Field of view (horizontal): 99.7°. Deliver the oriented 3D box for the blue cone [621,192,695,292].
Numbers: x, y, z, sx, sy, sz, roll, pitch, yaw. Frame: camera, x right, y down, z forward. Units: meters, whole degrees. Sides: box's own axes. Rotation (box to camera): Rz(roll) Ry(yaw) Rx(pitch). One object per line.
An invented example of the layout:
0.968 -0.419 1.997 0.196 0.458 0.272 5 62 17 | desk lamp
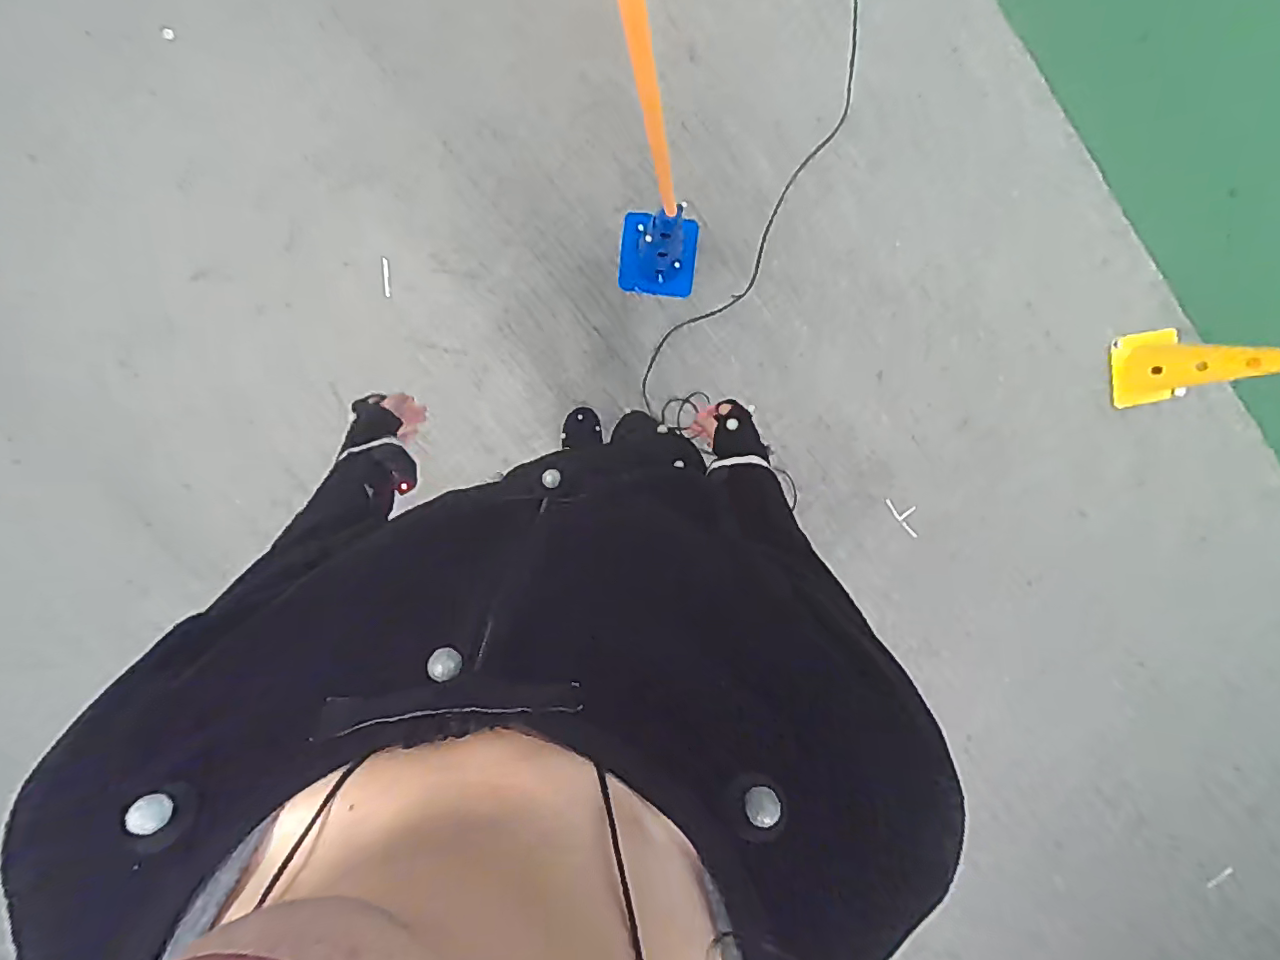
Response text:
0.050 -0.566 1.244 0.193 0.380 0.192 4 99 -2 | blue cone
